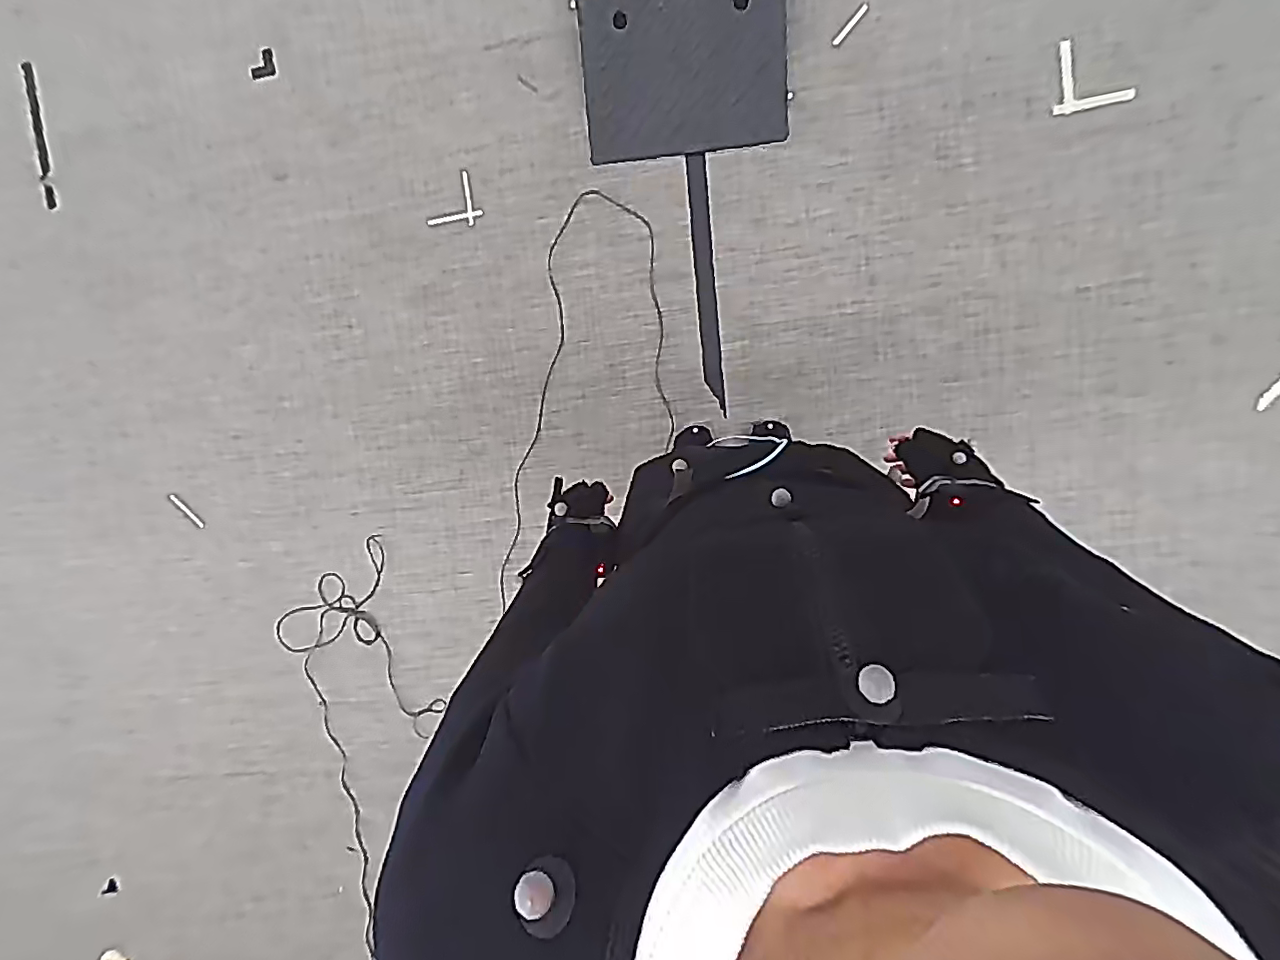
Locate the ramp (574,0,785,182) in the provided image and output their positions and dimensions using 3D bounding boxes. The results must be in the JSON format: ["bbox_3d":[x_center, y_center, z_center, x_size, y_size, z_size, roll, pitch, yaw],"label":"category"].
[{"bbox_3d":[0.071,-1.278,1.258,0.509,0.206,0.991,-6,95,7],"label":"ramp"}]
